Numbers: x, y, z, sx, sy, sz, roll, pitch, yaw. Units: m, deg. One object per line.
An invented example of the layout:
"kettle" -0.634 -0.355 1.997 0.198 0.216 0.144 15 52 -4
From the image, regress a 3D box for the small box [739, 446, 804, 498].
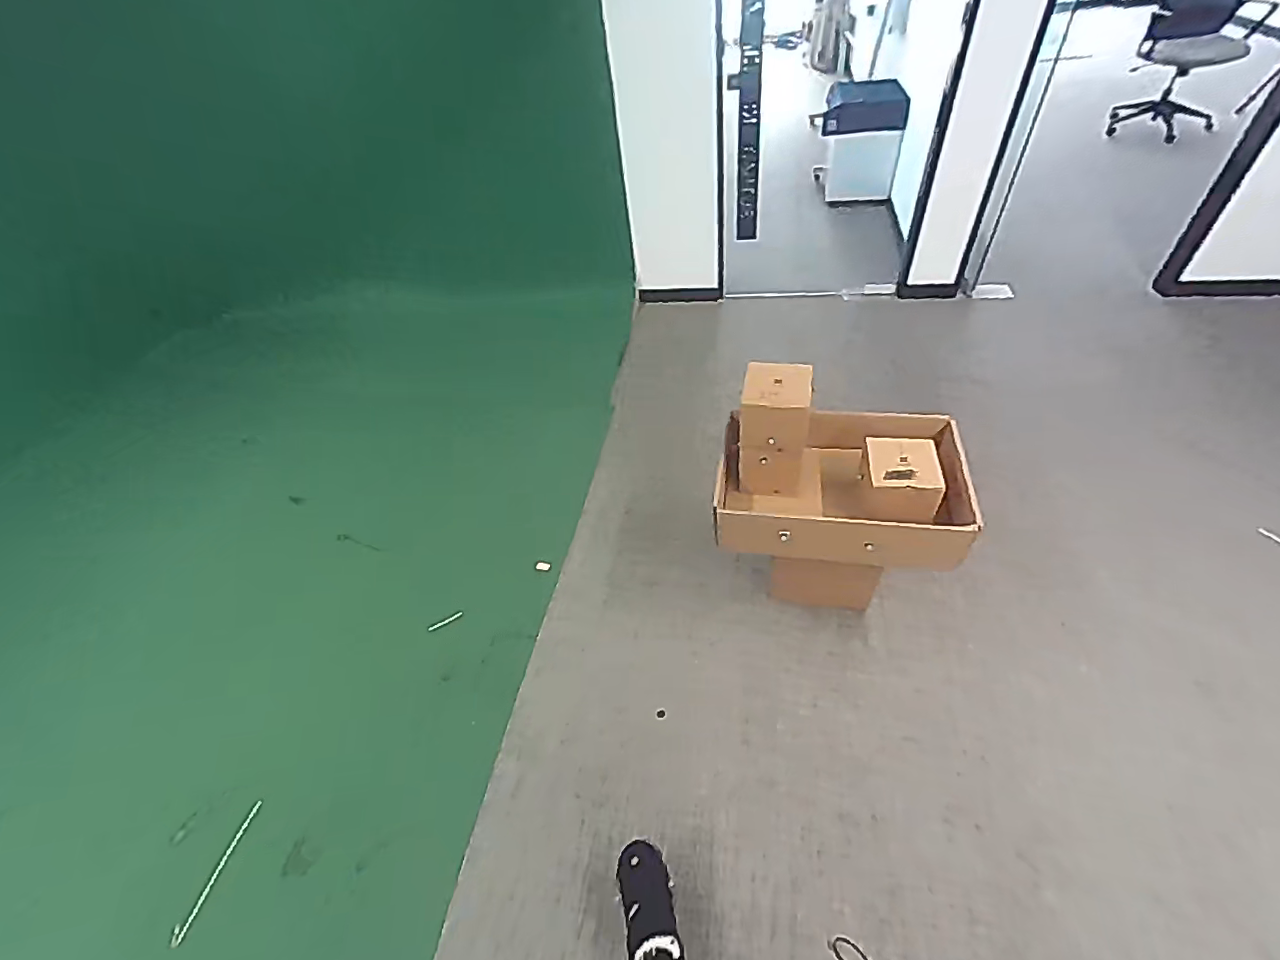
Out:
"small box" 0.374 -0.074 1.534 0.168 0.176 0.179 5 48 13

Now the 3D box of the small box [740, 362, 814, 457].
"small box" 0.356 -0.185 1.414 0.168 0.176 0.179 7 49 15
